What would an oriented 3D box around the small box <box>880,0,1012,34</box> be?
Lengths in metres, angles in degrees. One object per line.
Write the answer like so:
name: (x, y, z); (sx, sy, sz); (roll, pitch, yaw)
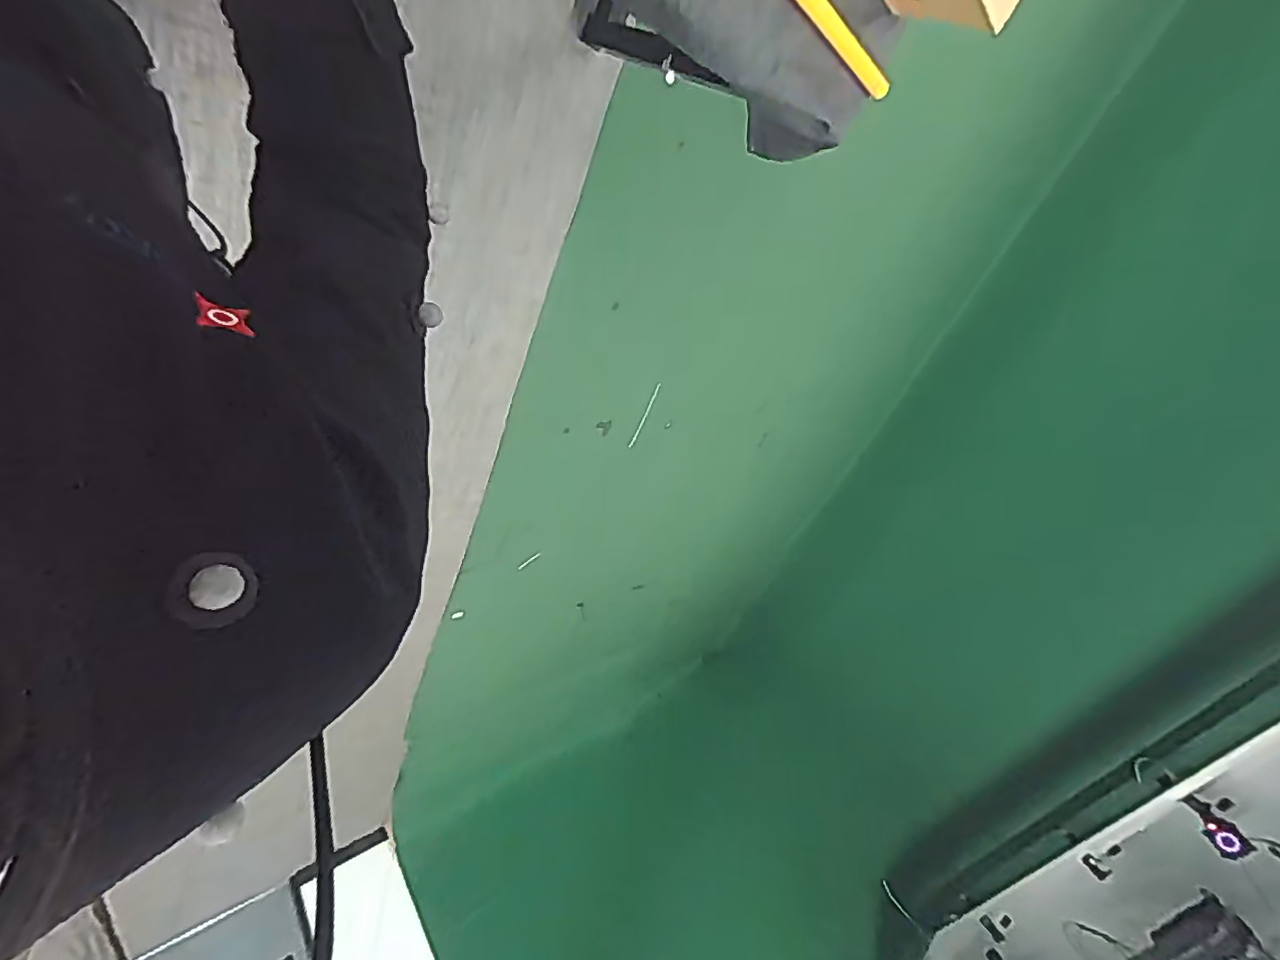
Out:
small box: (0.395, -0.705, 0.668); (0.168, 0.176, 0.179); (-4, 129, -46)
